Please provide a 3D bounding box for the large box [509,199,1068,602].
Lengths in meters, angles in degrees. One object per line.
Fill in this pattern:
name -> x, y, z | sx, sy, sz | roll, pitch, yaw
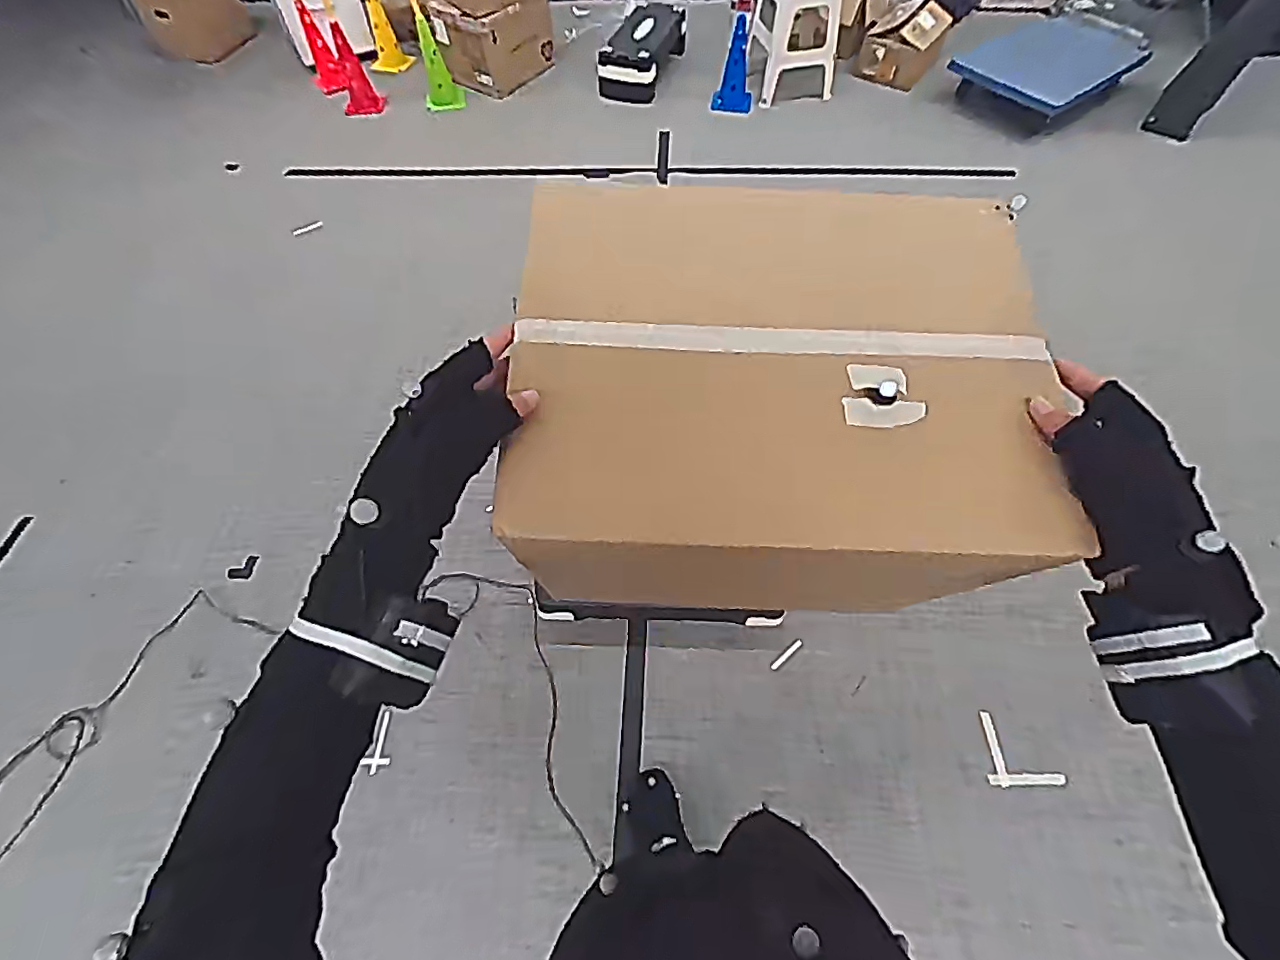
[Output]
large box -> 0.101, -0.049, 0.565 | 0.408, 0.320, 0.320 | 2, 71, -1
